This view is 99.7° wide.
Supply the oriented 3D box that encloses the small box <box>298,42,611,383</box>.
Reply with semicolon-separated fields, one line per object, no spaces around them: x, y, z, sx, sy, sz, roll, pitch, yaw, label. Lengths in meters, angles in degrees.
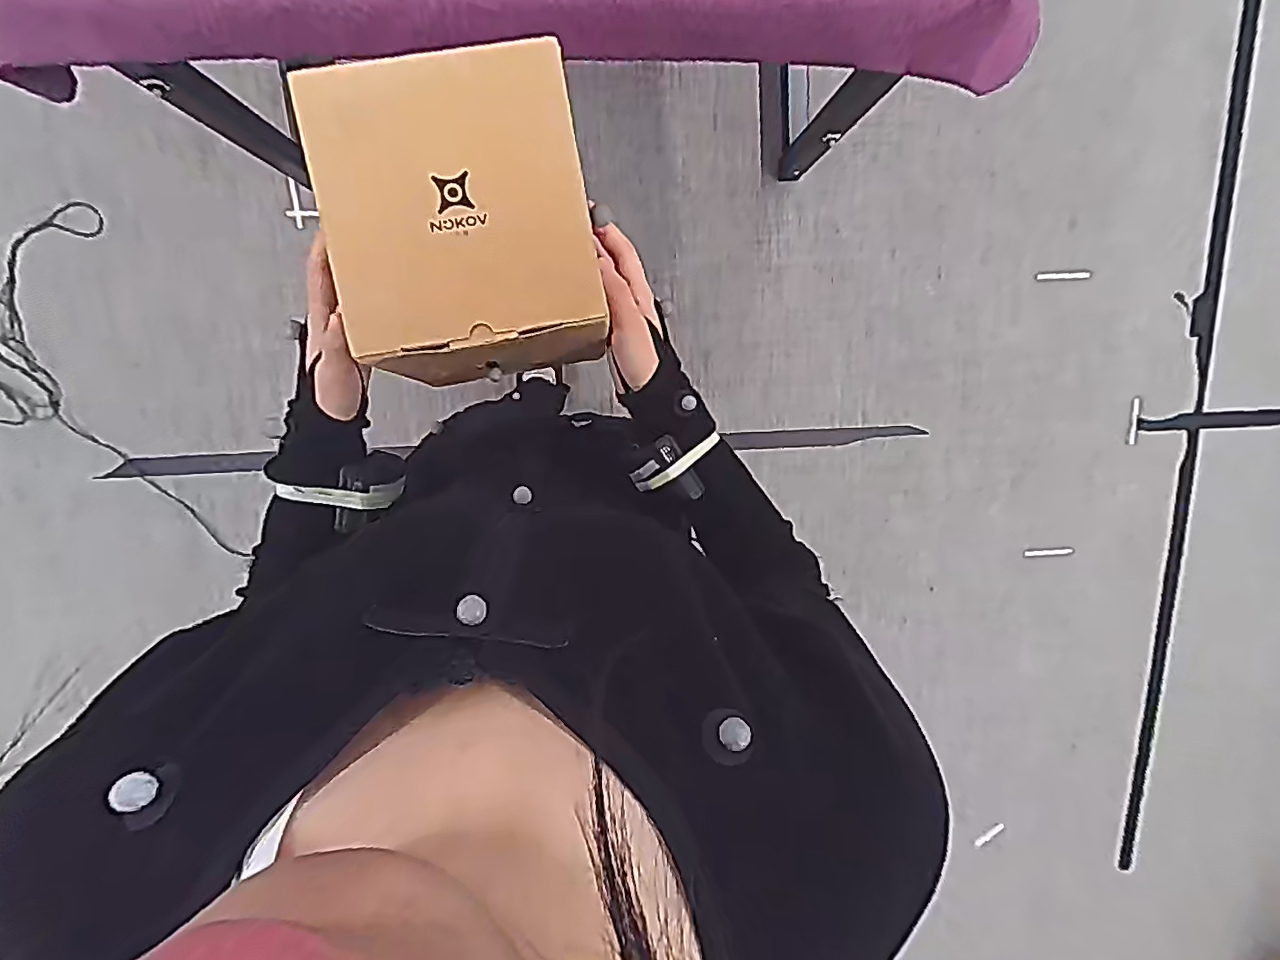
-0.121;-0.182;0.420;0.168;0.176;0.179;-11;95;-4;small box
